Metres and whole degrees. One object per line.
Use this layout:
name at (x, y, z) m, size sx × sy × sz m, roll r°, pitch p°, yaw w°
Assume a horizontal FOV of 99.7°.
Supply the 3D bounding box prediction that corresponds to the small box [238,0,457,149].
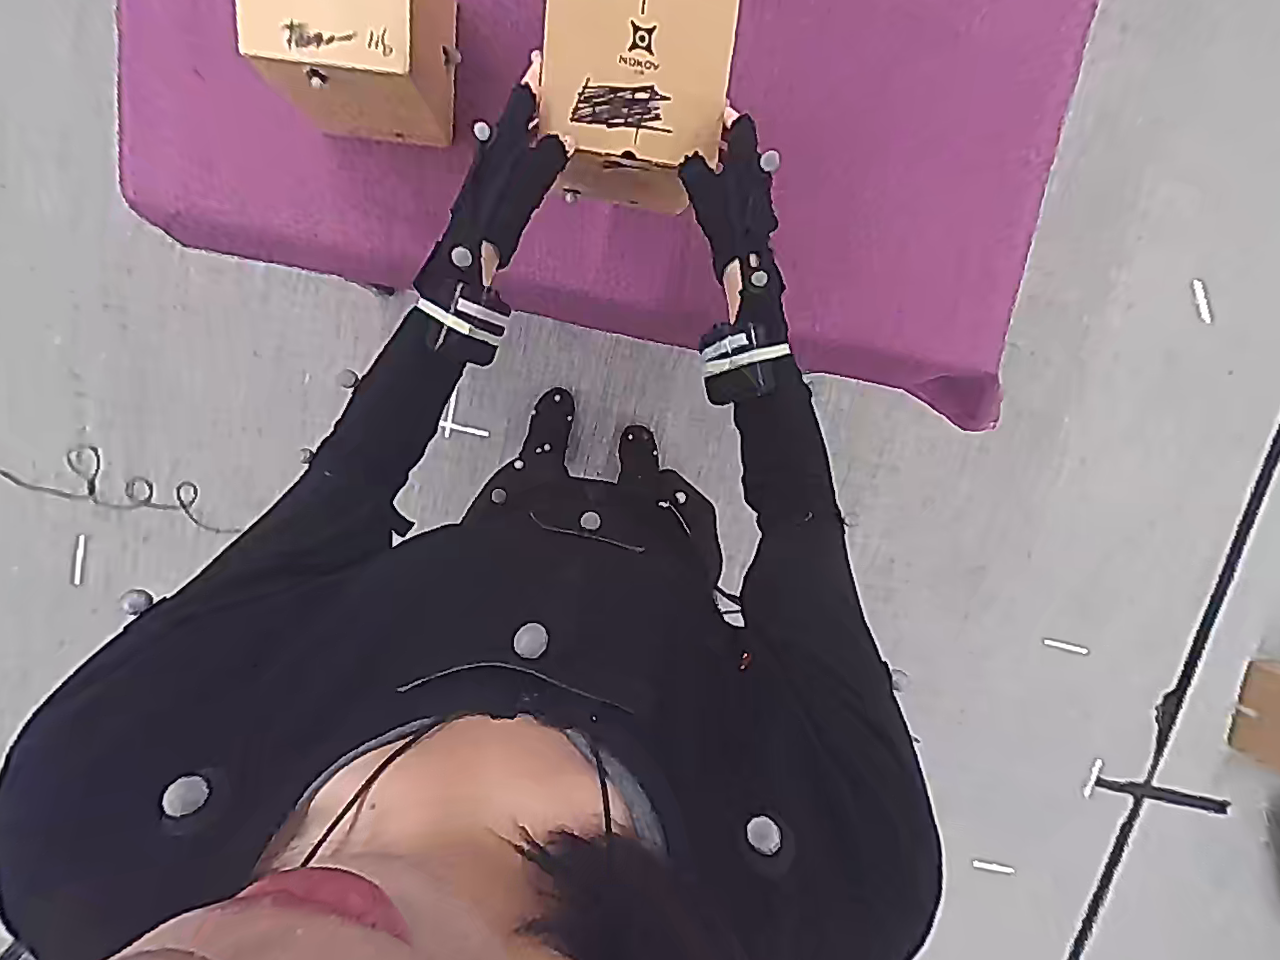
small box at (-0.310, -0.511, 0.604) m, size 0.168 × 0.176 × 0.179 m, roll 4°, pitch 97°, yaw -5°

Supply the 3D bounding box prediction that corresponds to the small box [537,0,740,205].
small box at (-0.010, -0.398, 0.546) m, size 0.168 × 0.176 × 0.179 m, roll 5°, pitch 103°, yaw -10°
